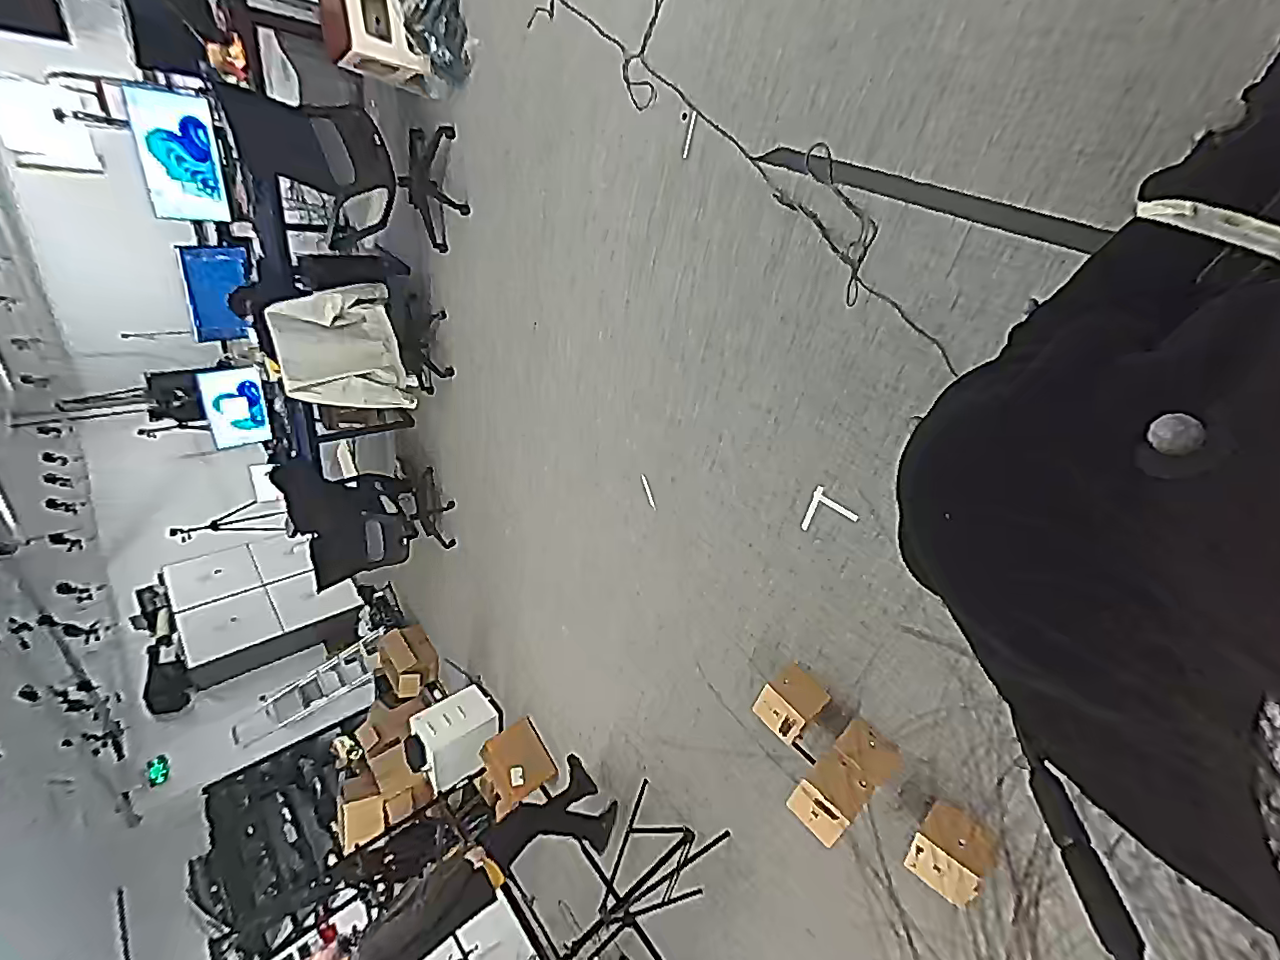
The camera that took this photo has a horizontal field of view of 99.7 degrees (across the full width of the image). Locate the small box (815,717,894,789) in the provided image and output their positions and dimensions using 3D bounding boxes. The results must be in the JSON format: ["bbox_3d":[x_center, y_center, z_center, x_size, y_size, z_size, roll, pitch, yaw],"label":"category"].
[{"bbox_3d":[0.712,0.934,1.801,0.168,0.176,0.179,41,131,31],"label":"small box"}]

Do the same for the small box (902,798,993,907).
[{"bbox_3d":[0.928,1.112,1.628,0.179,0.176,0.168,26,123,39],"label":"small box"}]

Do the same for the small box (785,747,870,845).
[{"bbox_3d":[0.592,0.985,1.700,0.168,0.176,0.179,38,131,33],"label":"small box"}]
